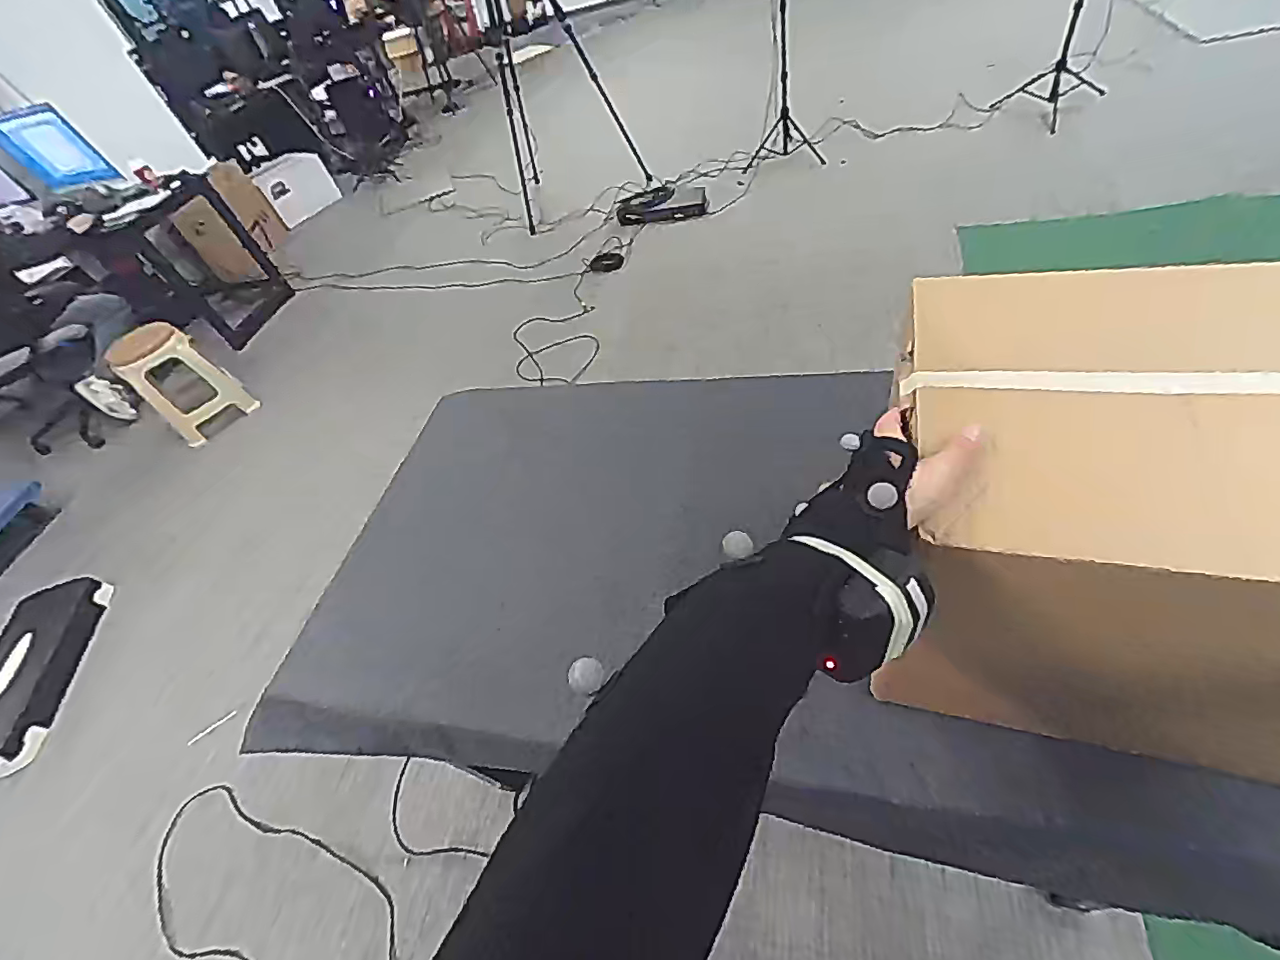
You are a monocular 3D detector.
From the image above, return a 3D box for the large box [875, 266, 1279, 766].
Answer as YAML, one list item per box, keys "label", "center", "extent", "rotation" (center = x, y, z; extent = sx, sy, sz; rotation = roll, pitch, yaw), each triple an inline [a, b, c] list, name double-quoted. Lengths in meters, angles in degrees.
- label: "large box"
  center: [0.445, 0.029, 0.489]
  extent: [0.408, 0.320, 0.320]
  rotation: [6, 53, 19]
